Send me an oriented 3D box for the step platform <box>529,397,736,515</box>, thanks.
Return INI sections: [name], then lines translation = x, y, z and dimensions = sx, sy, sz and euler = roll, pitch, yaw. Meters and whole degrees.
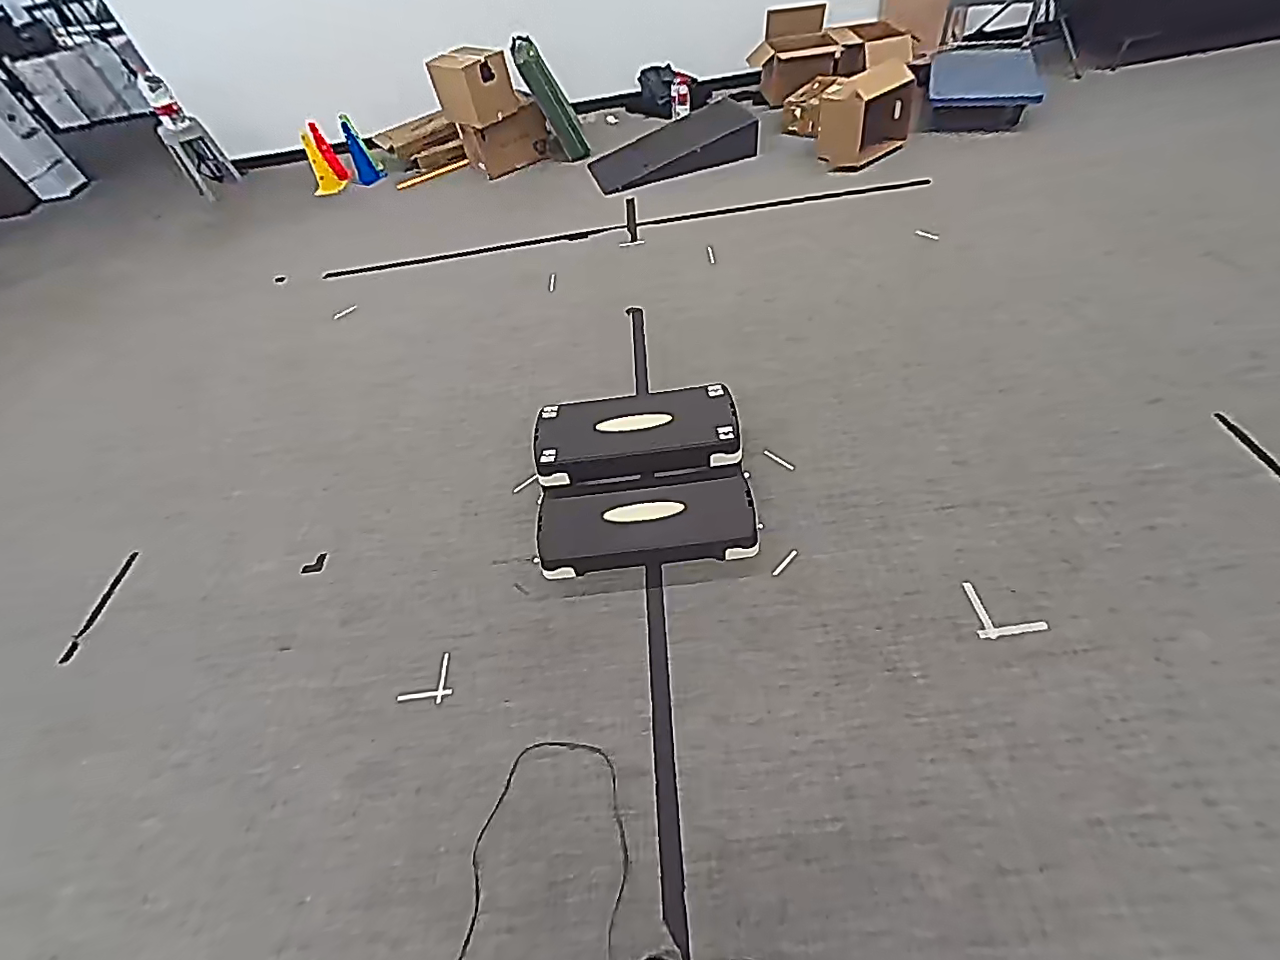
[step platform]
translation = -0.026, -0.086, 1.816
dimensions = 0.684, 0.204, 0.286
euler = -7, 51, 2
